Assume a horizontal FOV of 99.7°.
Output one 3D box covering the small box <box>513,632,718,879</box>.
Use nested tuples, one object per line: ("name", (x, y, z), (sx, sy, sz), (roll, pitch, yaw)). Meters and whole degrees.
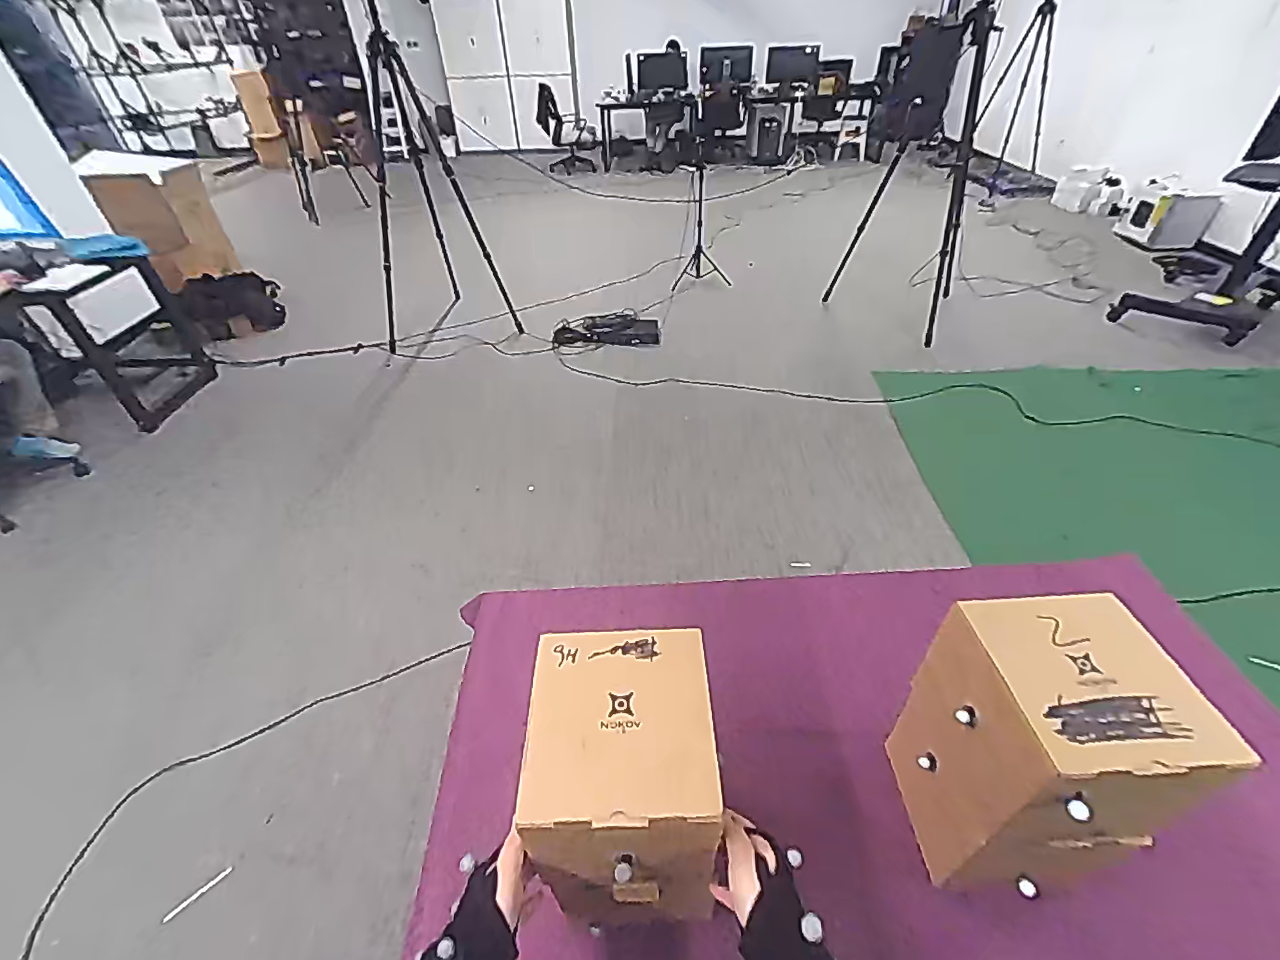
("small box", (-0.017, 0.273, 0.533), (0.168, 0.176, 0.179), (-2, 41, 0))

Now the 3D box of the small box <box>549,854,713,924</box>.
("small box", (-0.007, 0.399, 0.639), (0.168, 0.176, 0.179), (-3, 39, -1))

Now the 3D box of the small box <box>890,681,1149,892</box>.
("small box", (0.425, 0.365, 0.649), (0.168, 0.176, 0.179), (-2, 40, 2))
